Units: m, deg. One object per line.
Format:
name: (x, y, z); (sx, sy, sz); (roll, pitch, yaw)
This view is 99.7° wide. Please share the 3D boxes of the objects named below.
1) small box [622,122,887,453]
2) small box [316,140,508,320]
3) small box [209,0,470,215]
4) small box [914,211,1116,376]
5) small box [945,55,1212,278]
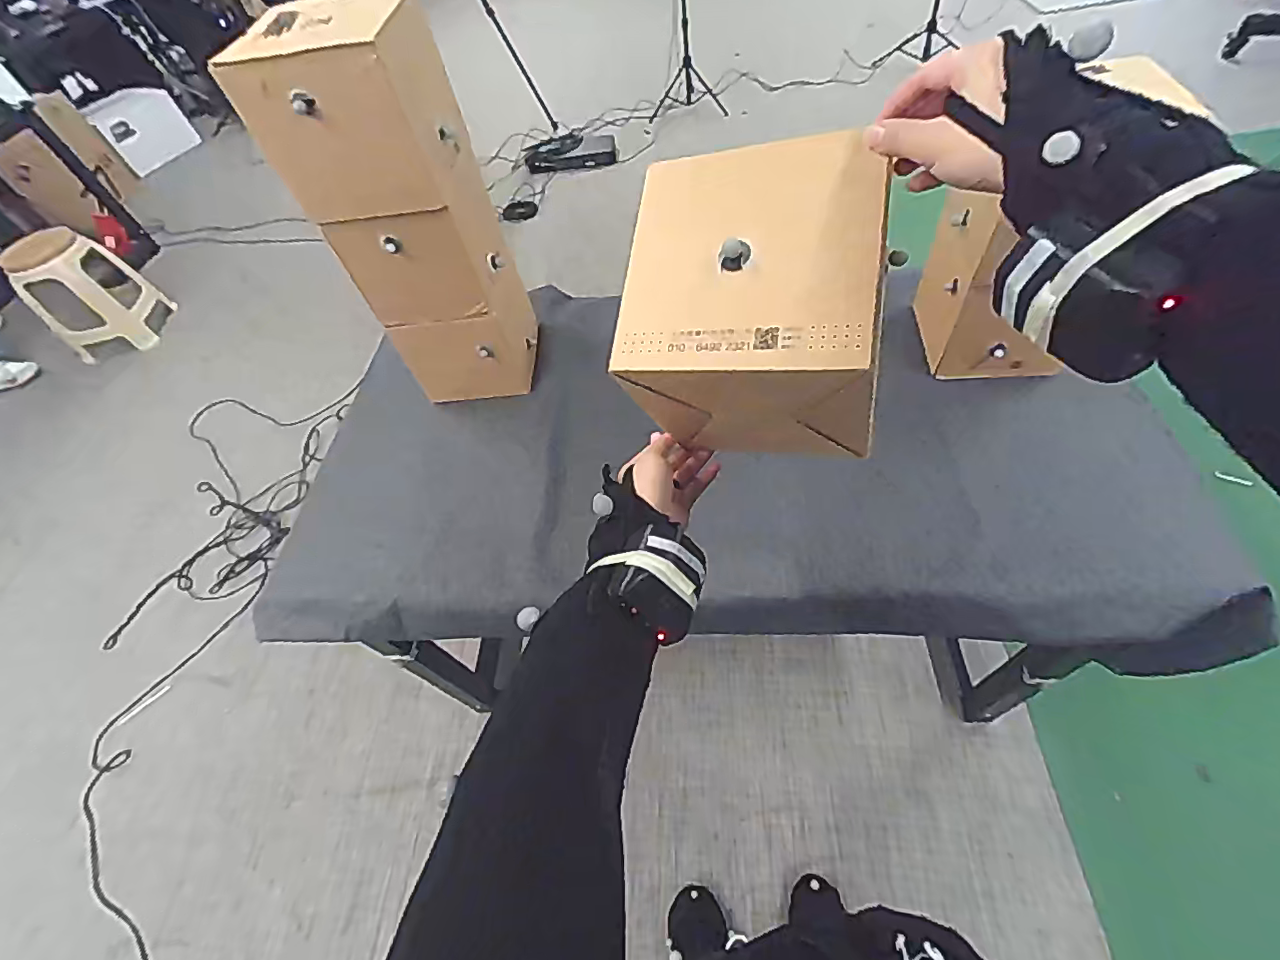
small box: (0.097, -0.125, 0.421); (0.168, 0.179, 0.176); (6, 78, 24)
small box: (-0.305, -0.346, 0.766); (0.179, 0.176, 0.168); (-4, 57, 5)
small box: (-0.323, -0.431, 0.625); (0.179, 0.176, 0.168); (-3, 57, 6)
small box: (0.513, -0.270, 0.775); (0.168, 0.176, 0.179); (0, 57, 10)
small box: (0.486, -0.357, 0.638); (0.168, 0.176, 0.179); (0, 57, 10)
